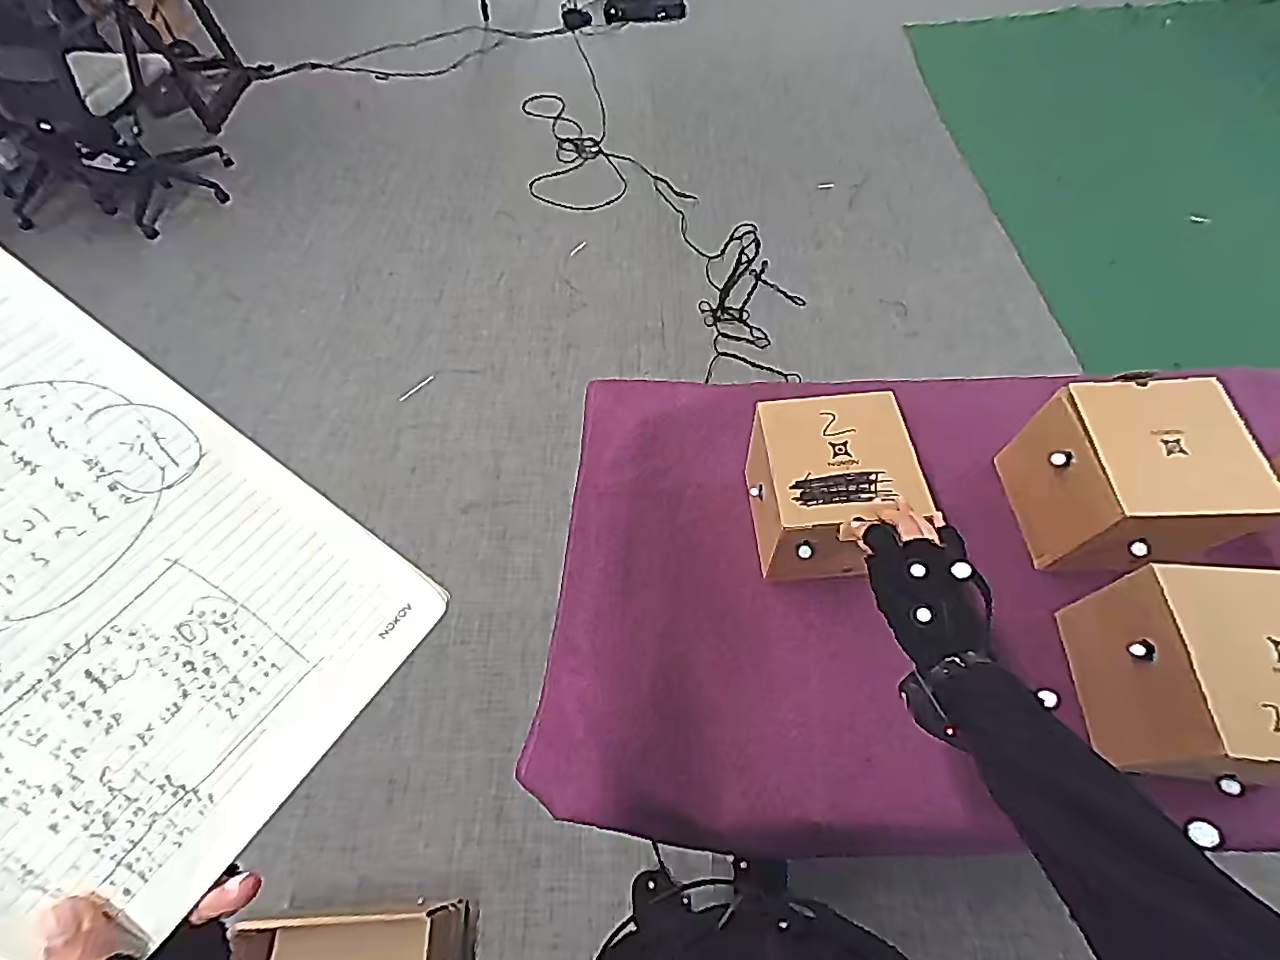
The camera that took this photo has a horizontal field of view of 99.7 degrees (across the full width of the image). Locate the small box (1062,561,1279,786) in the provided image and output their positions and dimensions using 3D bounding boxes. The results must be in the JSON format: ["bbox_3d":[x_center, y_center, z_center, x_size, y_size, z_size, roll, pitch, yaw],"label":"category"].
[{"bbox_3d":[0.576,0.199,0.546,0.168,0.176,0.179,3,60,7],"label":"small box"}]

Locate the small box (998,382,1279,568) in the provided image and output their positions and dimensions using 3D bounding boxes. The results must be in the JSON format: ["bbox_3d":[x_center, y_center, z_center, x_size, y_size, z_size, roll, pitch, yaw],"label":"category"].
[{"bbox_3d":[0.585,0.003,0.664,0.168,0.176,0.179,-2,59,4],"label":"small box"}]
